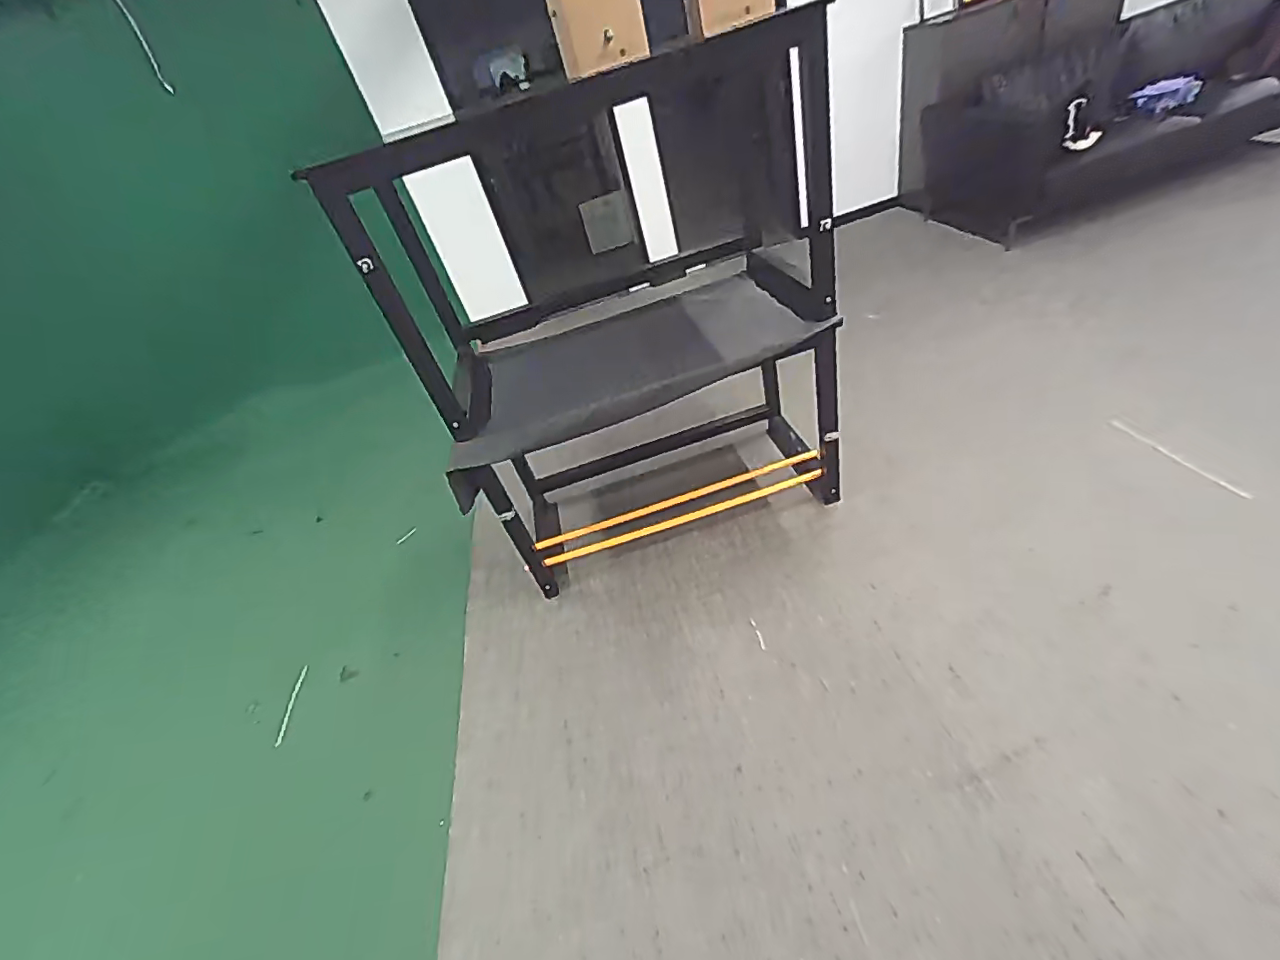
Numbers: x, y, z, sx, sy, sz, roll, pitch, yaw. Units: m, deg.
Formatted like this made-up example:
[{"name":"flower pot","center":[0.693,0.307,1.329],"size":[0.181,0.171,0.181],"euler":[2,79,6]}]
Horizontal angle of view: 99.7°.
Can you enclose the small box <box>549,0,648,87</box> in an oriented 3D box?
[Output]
[{"name":"small box","center":[-0.095,-1.024,1.239],"size":[0.168,0.176,0.179],"euler":[-22,38,-4]}]
